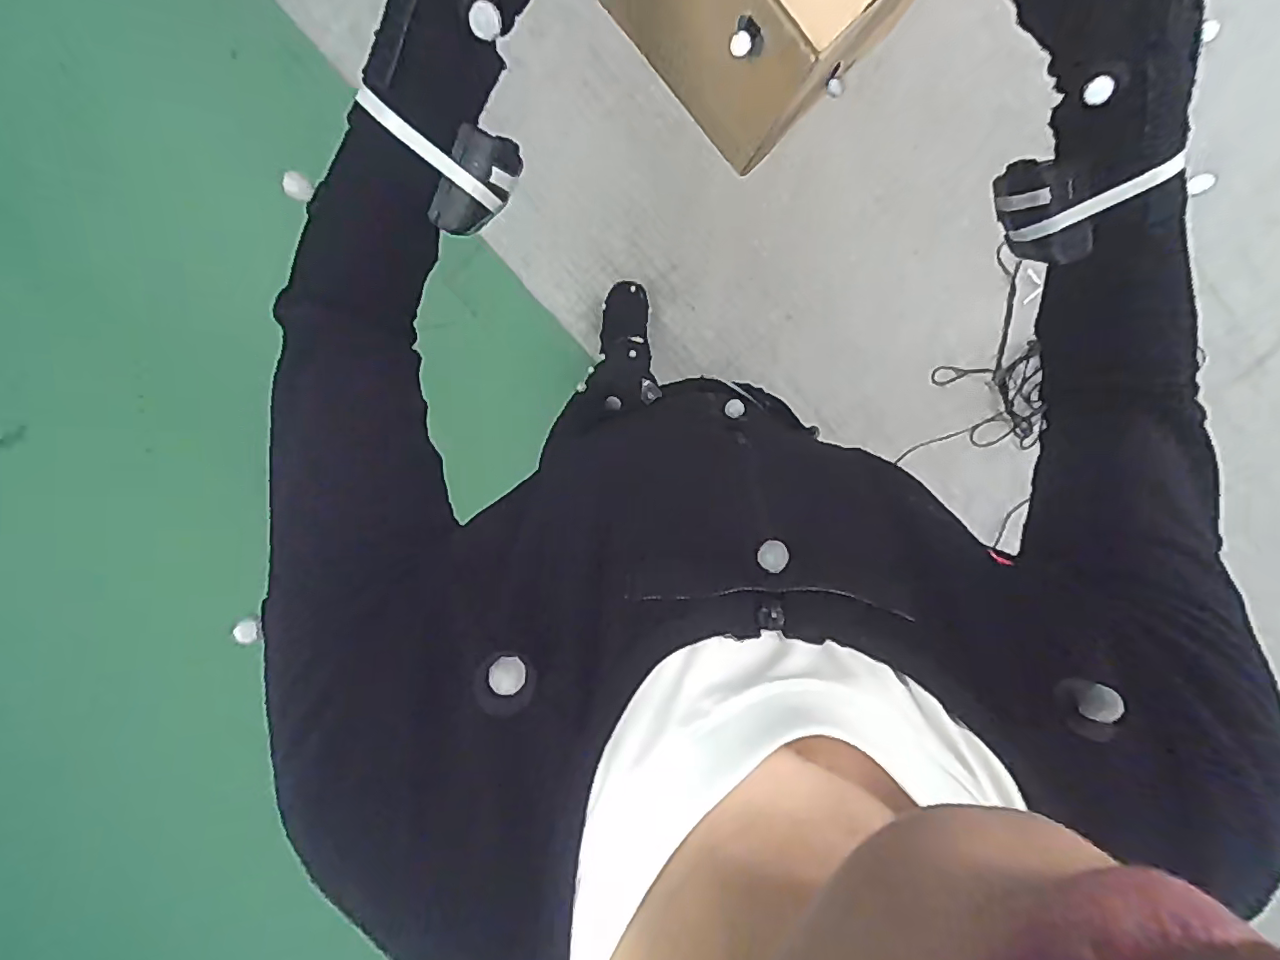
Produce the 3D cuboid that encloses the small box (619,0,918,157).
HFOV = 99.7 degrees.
[{"bbox_3d":[0.092,-0.356,0.346,0.179,0.176,0.168,43,99,-6],"label":"small box"}]
